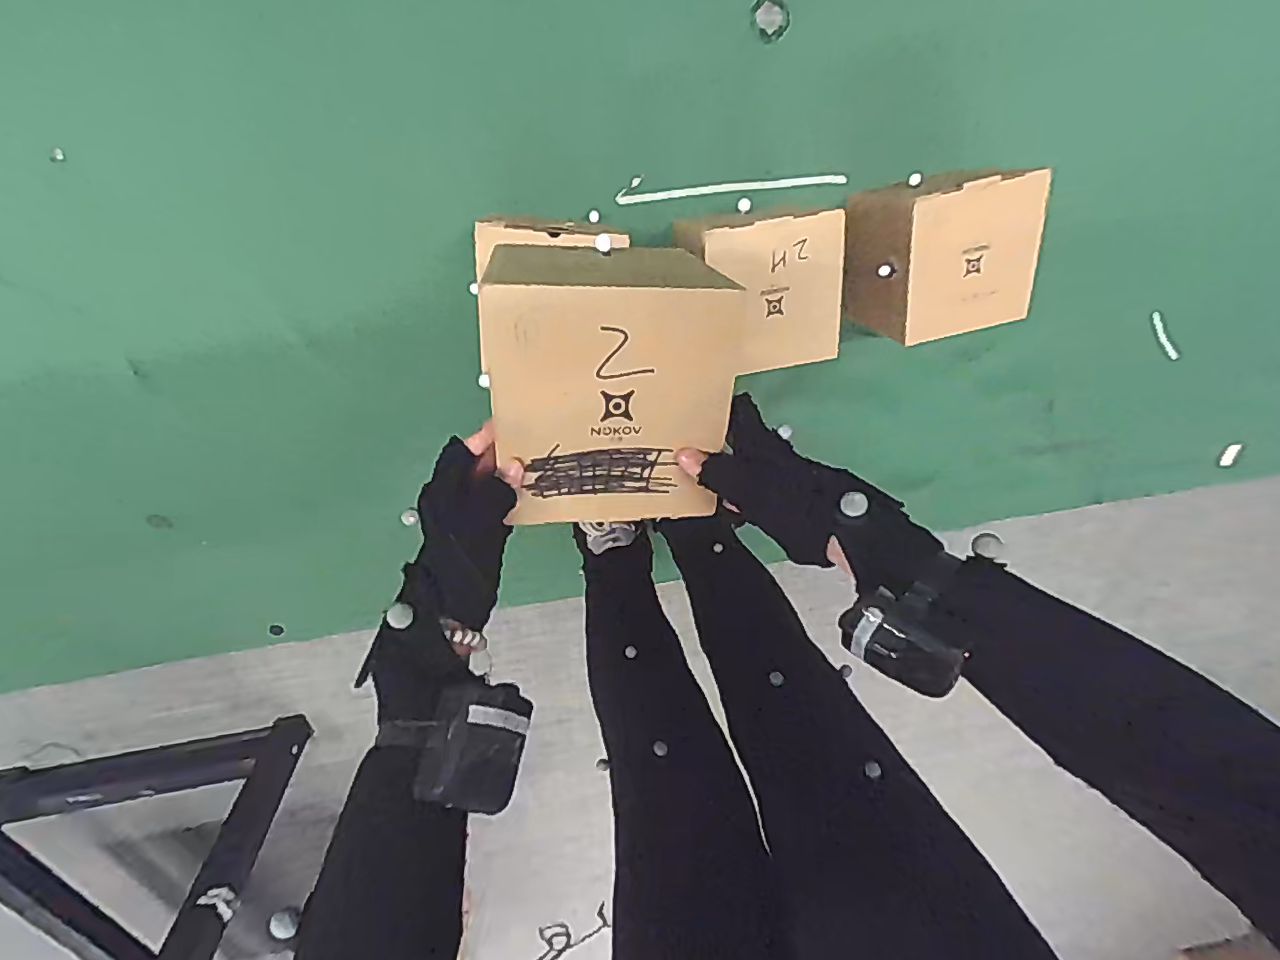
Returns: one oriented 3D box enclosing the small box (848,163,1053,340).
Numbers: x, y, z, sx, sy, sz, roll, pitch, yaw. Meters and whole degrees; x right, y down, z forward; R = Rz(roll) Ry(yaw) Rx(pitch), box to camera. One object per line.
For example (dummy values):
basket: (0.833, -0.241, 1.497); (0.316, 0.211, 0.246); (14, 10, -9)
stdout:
small box: (0.394, -0.307, 0.721); (0.168, 0.176, 0.179); (-13, 120, -2)

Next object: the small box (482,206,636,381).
small box: (-0.105, -0.237, 0.676); (0.168, 0.176, 0.179); (1, 119, -9)

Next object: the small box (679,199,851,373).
small box: (0.151, -0.258, 0.705); (0.168, 0.176, 0.179); (-10, 120, -5)
